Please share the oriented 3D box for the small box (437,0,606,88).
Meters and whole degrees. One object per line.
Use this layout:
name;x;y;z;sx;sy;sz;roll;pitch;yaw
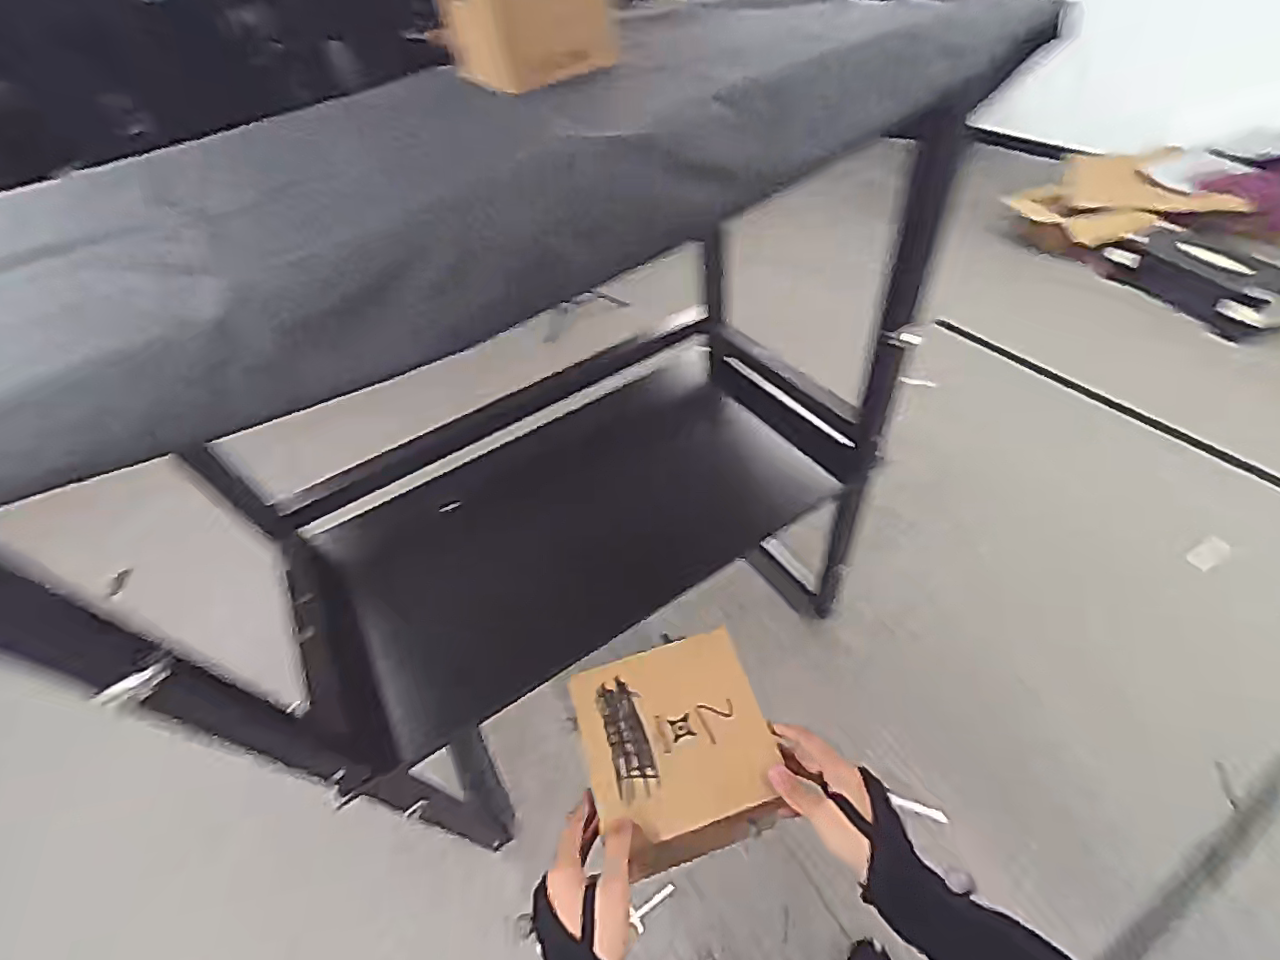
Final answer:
small box;-0.164;-0.634;0.702;0.168;0.176;0.179;-30;51;-16
